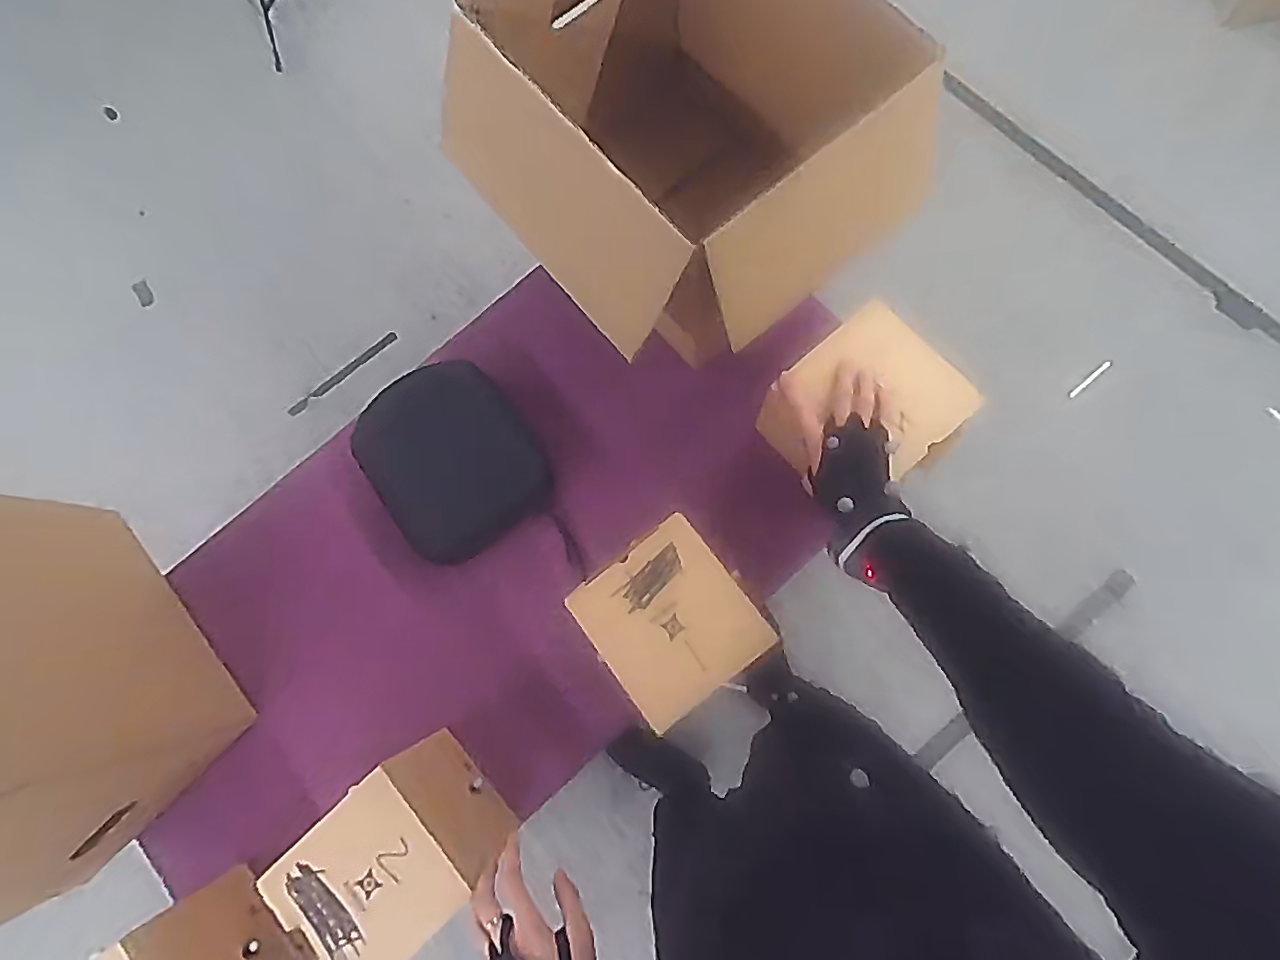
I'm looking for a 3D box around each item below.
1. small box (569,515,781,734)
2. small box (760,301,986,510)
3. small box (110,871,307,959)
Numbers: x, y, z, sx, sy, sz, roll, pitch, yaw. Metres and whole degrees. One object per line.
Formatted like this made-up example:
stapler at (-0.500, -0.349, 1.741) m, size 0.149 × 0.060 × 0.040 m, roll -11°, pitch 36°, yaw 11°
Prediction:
small box at (0.041, 0.168, 0.661) m, size 0.168 × 0.176 × 0.179 m, roll -38°, pitch 79°, yaw -2°
small box at (0.273, -0.080, 0.684) m, size 0.168 × 0.176 × 0.179 m, roll -41°, pitch 78°, yaw -2°
small box at (-0.541, 0.618, 0.628) m, size 0.179 × 0.176 × 0.168 m, roll -42°, pitch 78°, yaw -5°
